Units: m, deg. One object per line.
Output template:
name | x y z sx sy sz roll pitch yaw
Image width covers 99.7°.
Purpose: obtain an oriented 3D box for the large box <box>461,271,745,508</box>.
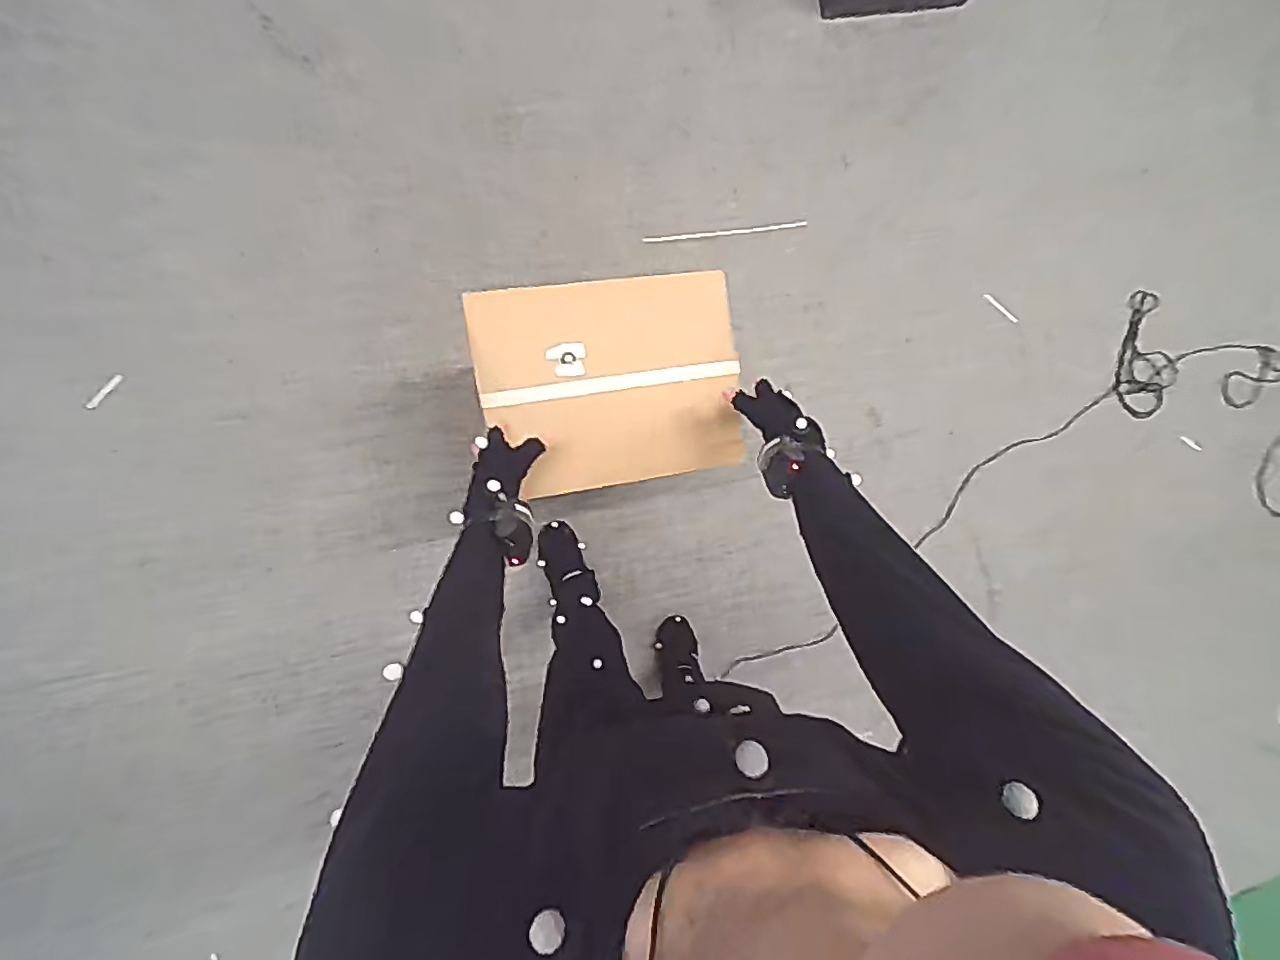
large box | -0.069 -0.158 0.969 0.408 0.320 0.320 -9 97 -10
